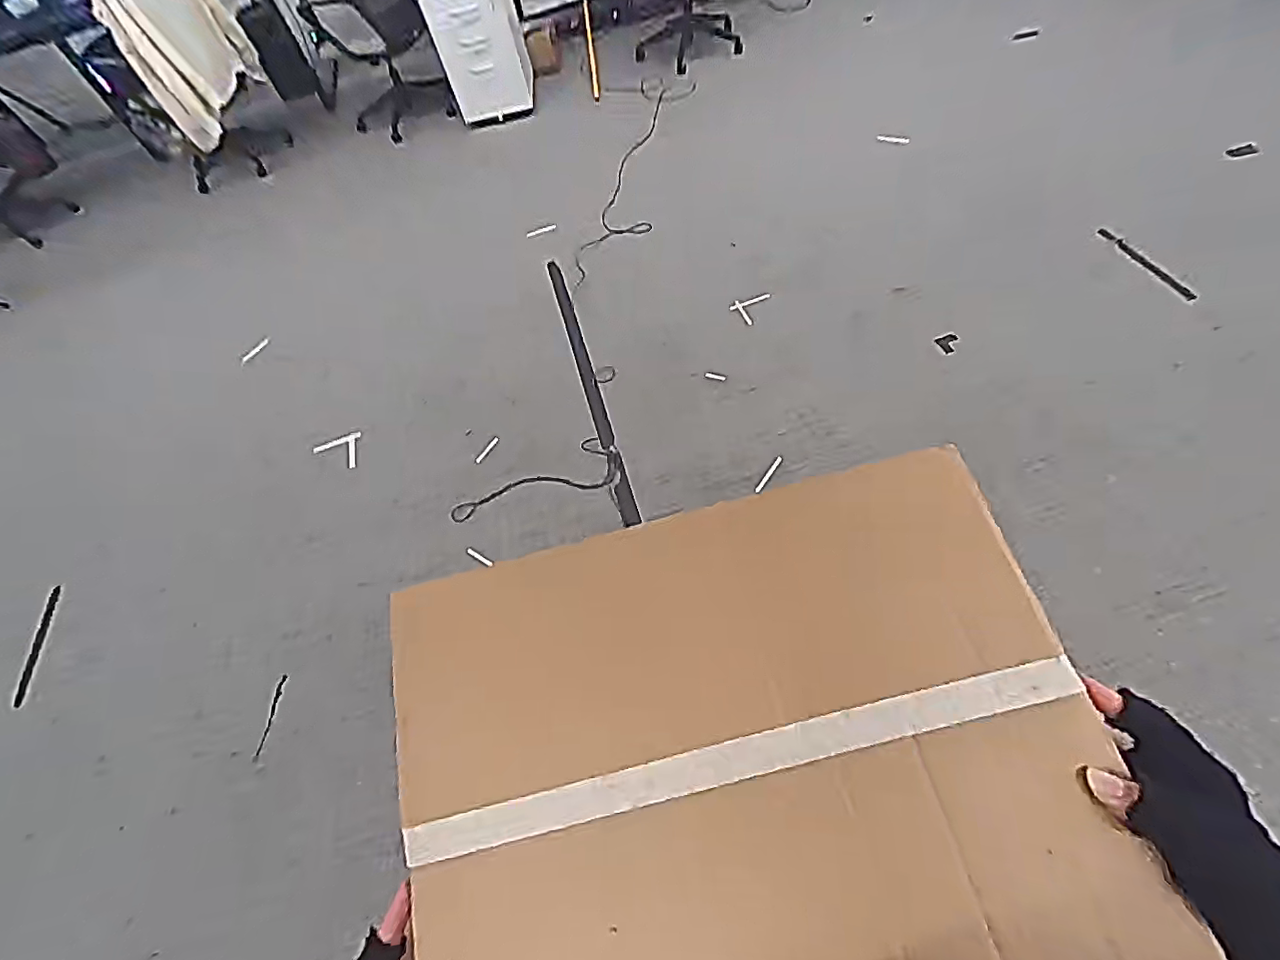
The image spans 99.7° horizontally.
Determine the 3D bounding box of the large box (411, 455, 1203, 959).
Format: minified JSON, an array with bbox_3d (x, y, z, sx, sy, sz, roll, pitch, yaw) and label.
[{"bbox_3d":[0.076,0.226,0.467,0.408,0.320,0.320,-16,68,2],"label":"large box"}]
